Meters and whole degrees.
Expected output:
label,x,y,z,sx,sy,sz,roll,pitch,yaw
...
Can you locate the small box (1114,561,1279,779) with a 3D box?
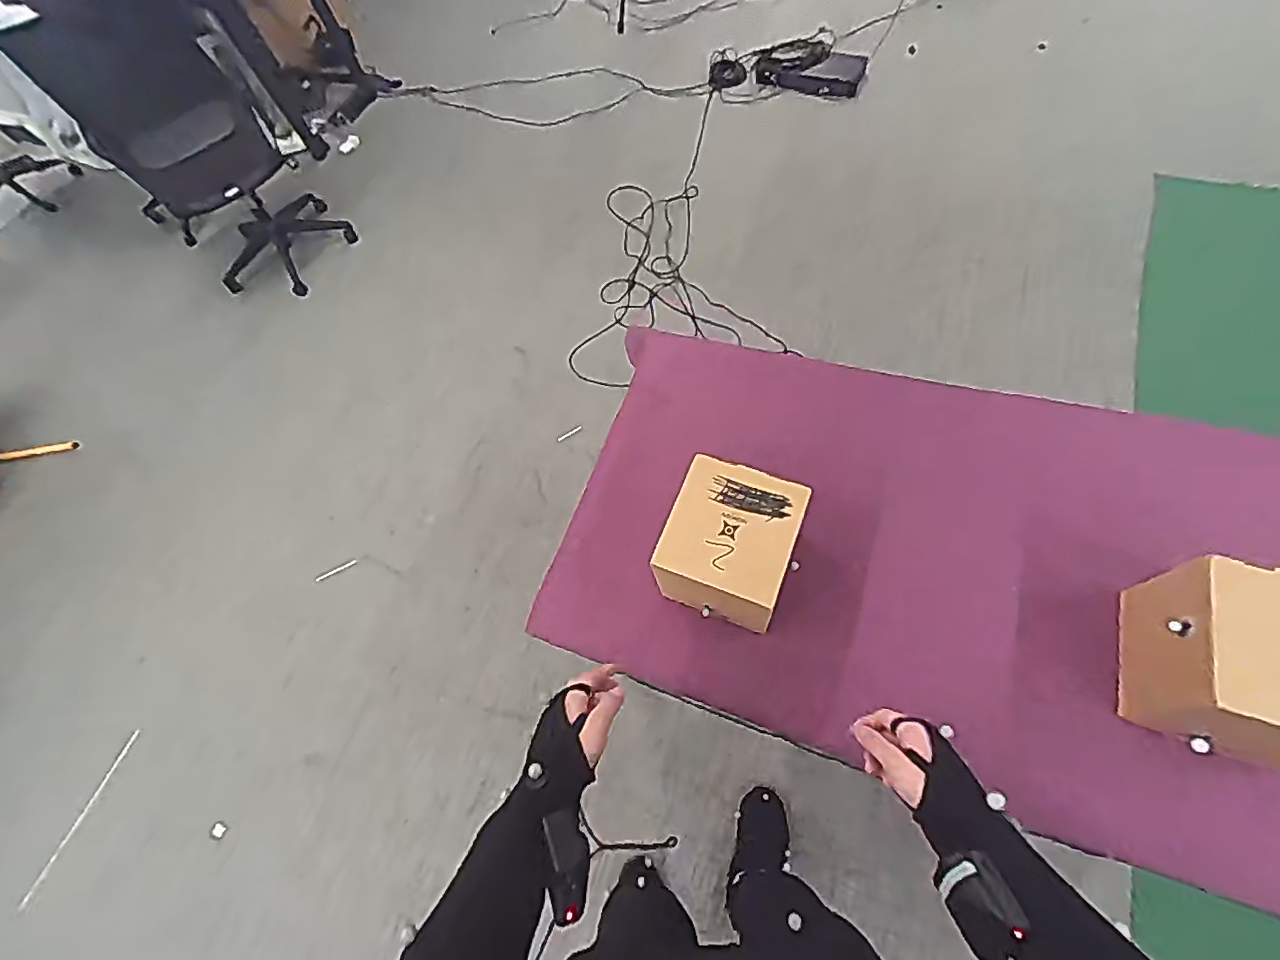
label,x,y,z,sx,sy,sz,roll,pitch,yaw
small box,0.692,0.222,0.623,0.168,0.176,0.179,17,67,18
